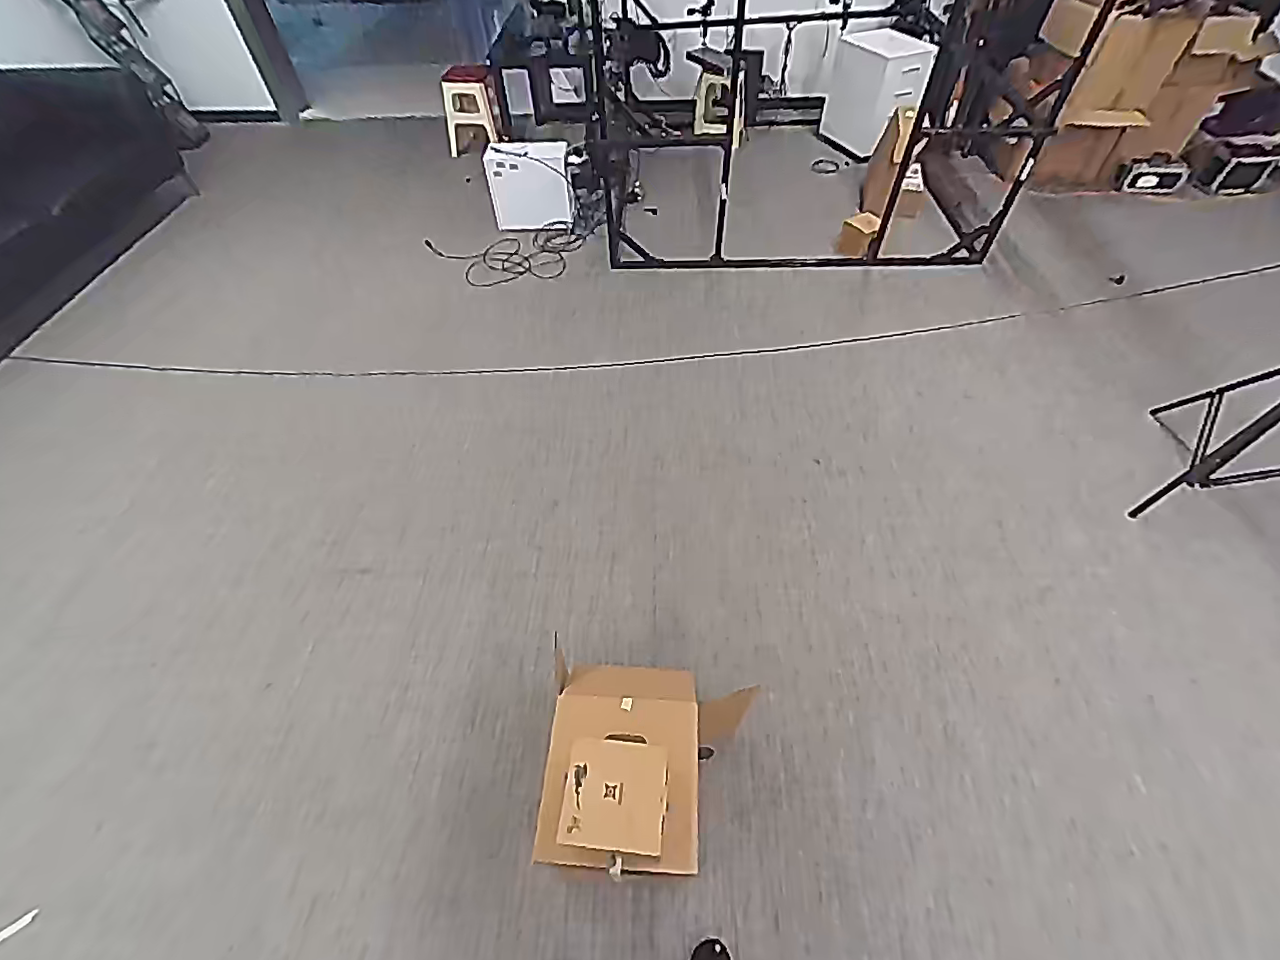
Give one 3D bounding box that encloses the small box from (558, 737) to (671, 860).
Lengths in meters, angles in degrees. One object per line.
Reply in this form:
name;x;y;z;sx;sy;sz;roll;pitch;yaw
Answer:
small box;-0.040;0.592;1.000;0.179;0.176;0.168;5;53;5
